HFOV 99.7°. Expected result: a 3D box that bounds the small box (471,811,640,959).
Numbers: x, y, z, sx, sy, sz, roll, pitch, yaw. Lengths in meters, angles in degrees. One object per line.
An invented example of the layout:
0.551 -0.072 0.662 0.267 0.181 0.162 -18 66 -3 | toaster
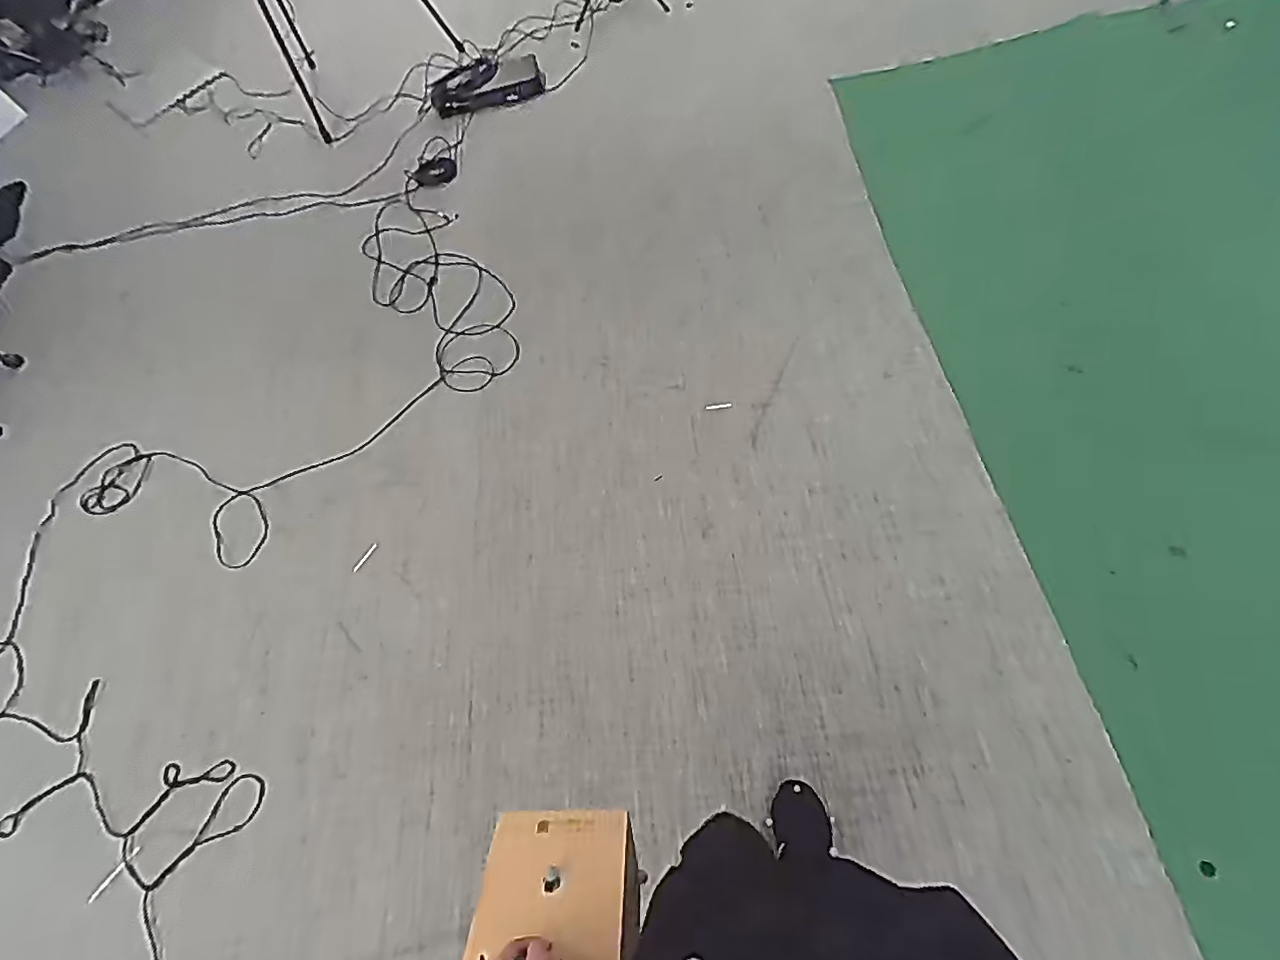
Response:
-0.090 0.521 0.648 0.168 0.179 0.176 -5 31 3 | small box
